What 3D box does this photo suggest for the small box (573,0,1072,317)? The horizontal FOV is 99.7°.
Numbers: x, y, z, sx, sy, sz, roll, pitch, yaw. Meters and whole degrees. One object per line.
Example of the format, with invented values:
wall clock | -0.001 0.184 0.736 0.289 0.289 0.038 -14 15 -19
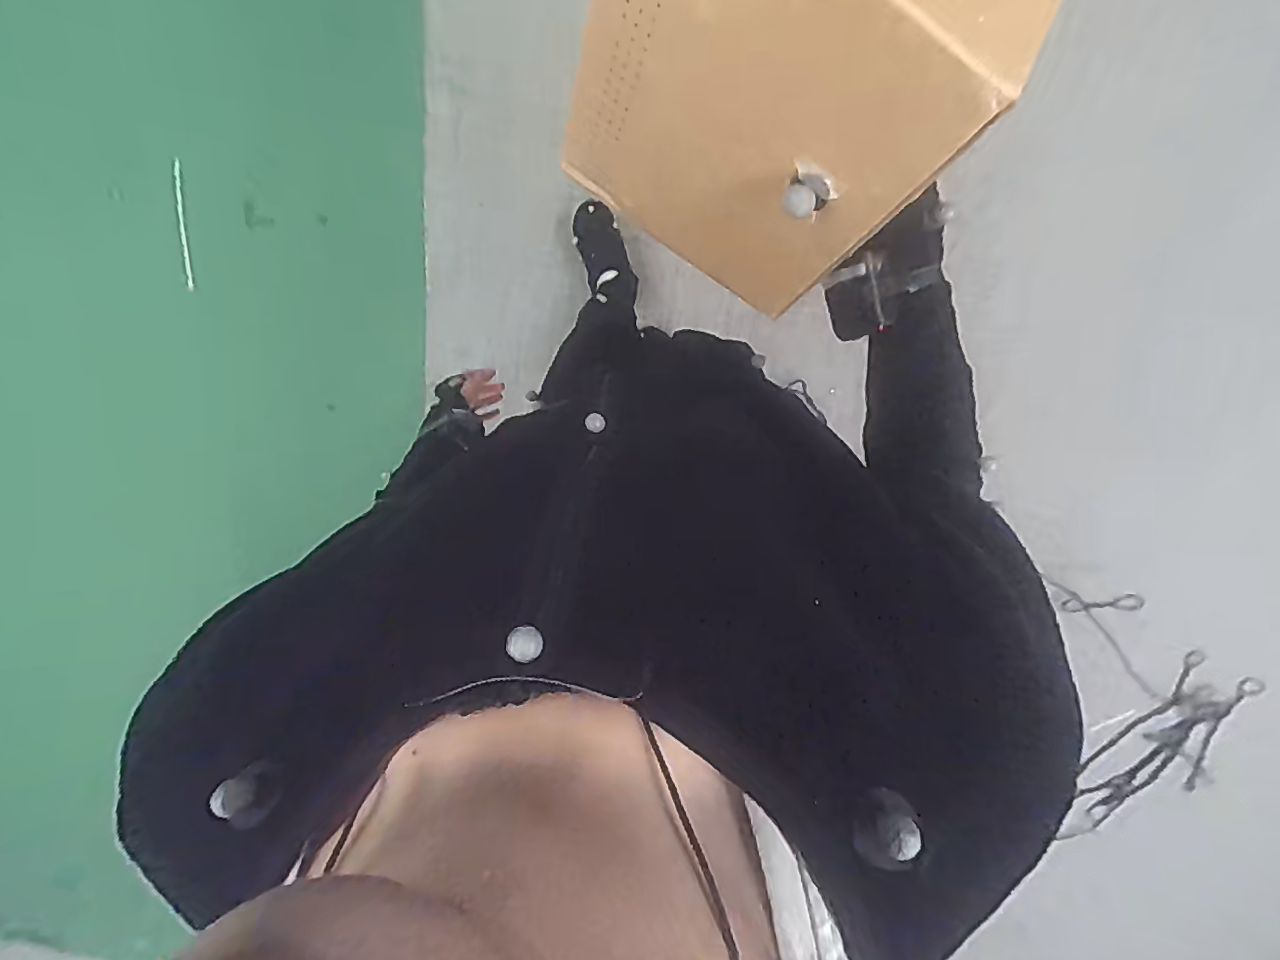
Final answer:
small box | 0.083 -0.229 0.283 0.176 0.179 0.168 33 71 -8
